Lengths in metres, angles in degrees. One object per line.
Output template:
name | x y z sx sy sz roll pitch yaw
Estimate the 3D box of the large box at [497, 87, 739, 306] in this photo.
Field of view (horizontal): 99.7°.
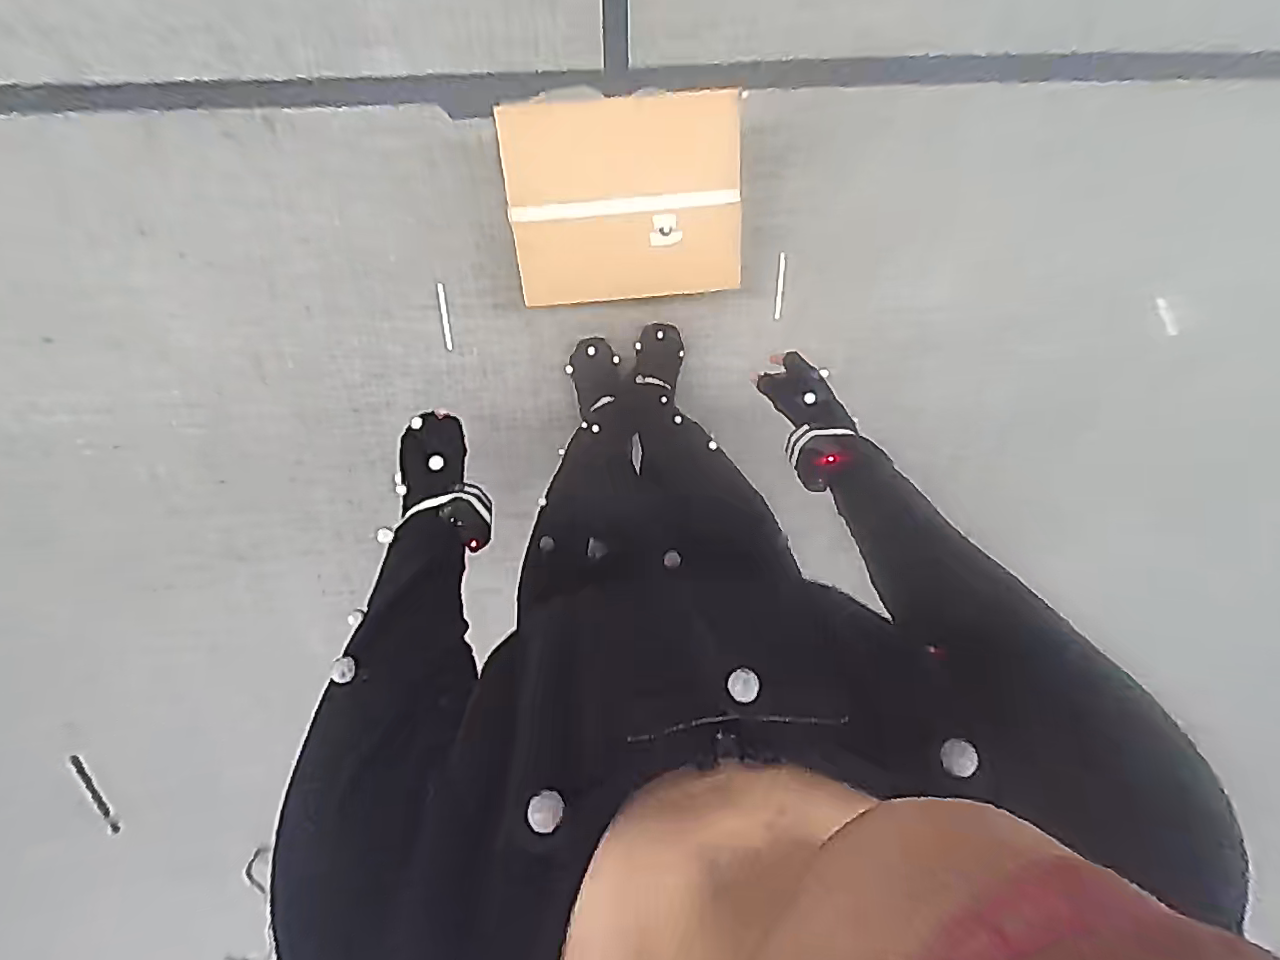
large box | -0.037 -0.544 1.079 0.408 0.320 0.320 -6 115 -2
